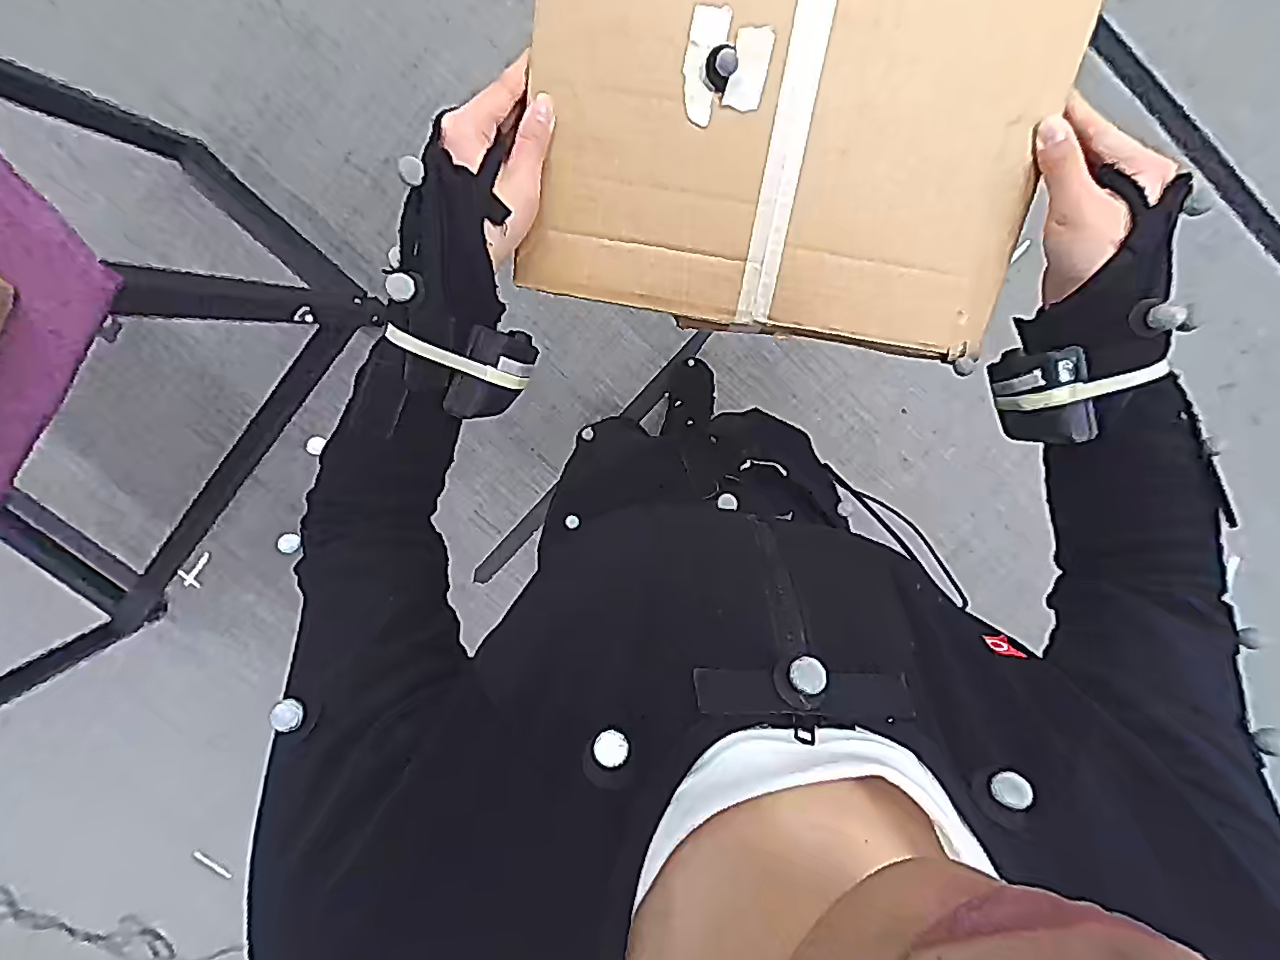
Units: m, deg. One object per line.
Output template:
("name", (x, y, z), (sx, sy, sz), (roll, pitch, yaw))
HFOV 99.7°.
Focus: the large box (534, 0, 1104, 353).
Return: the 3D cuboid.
("large box", (0.107, -0.339, 0.431), (0.320, 0.320, 0.408), (8, 109, -1))
